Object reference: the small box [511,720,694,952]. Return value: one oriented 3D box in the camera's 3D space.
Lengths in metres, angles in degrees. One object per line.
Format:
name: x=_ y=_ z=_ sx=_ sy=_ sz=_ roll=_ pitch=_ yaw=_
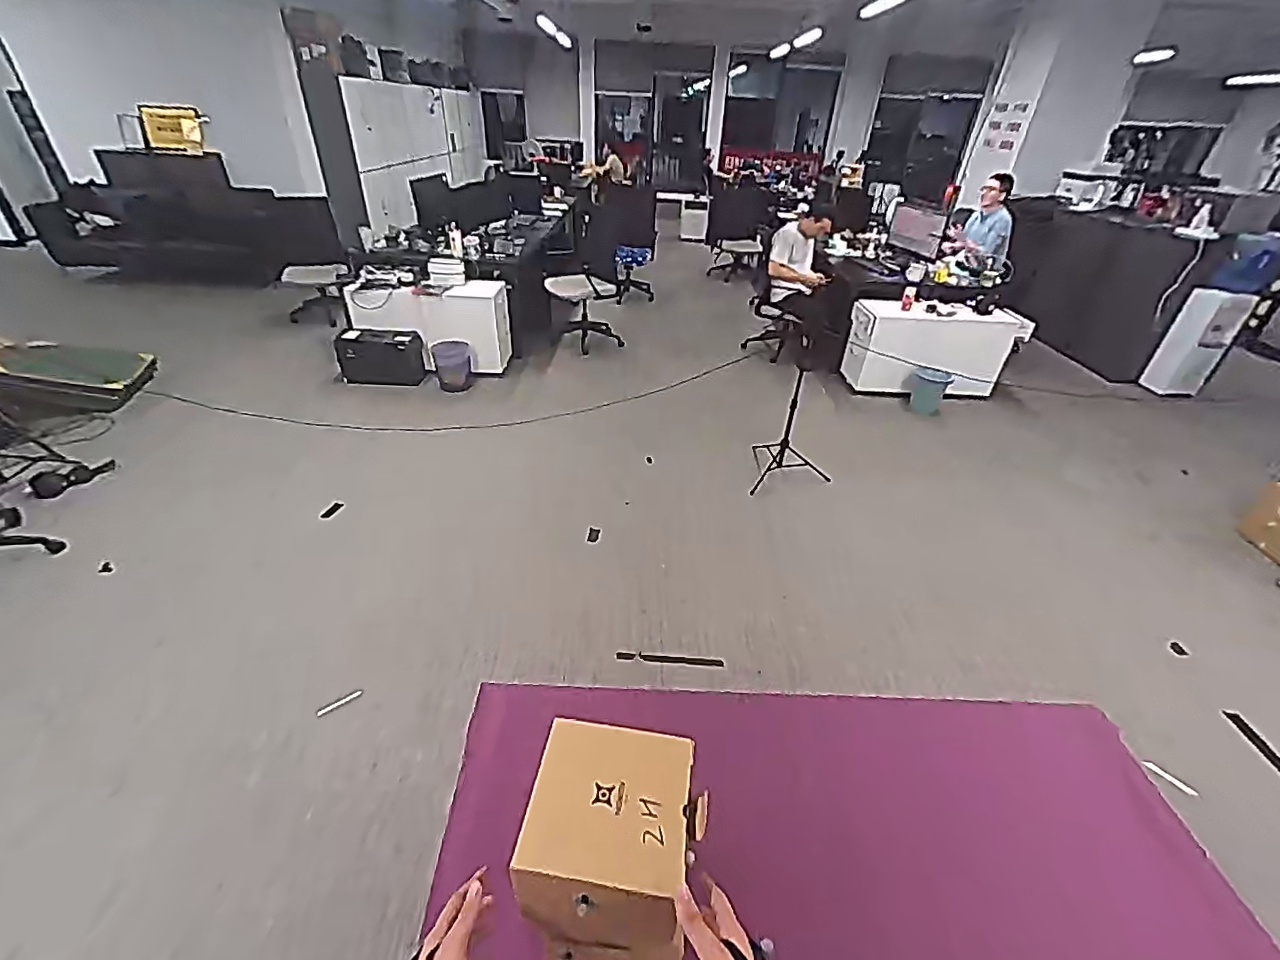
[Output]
small box: x=-0.036 y=0.418 z=0.640 sx=0.179 sy=0.176 sz=0.168 roll=8 pitch=34 yaw=6
